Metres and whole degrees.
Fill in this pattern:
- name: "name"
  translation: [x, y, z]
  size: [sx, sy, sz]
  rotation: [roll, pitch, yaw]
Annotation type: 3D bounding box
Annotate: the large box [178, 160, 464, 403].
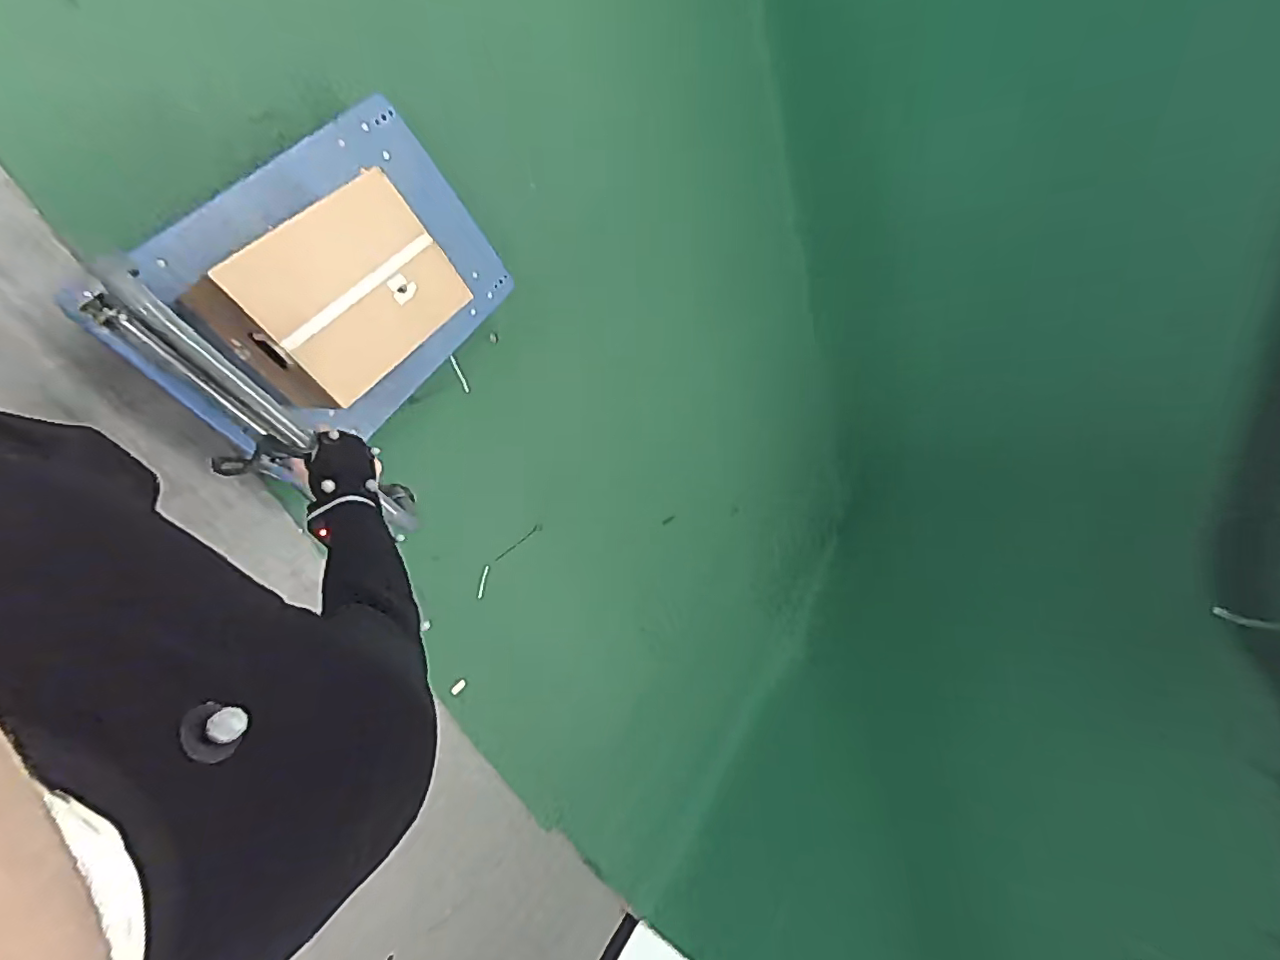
- name: "large box"
  translation: [-0.687, -0.416, 1.194]
  size: [0.408, 0.320, 0.320]
  rotation: [-55, 132, -28]
